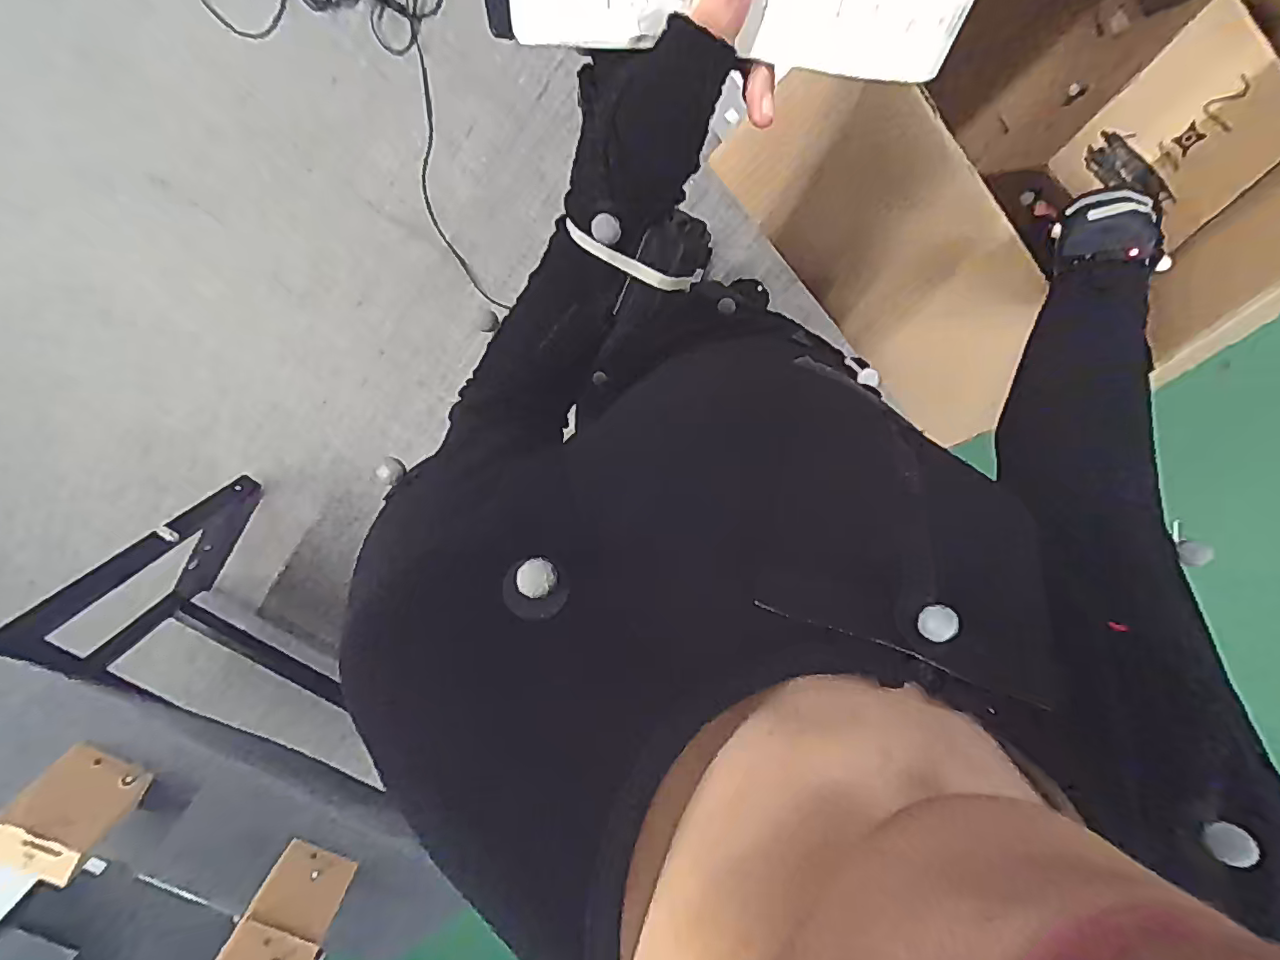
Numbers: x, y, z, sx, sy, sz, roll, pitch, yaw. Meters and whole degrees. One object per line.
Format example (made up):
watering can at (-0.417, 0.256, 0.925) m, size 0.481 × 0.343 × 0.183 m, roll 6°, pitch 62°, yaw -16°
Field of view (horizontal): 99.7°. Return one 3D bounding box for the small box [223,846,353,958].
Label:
small box at (-0.792, 0.981, 1.230) m, size 0.168 × 0.176 × 0.179 m, roll 33°, pitch 115°, yaw -13°

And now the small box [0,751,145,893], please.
small box at (-1.183, 0.698, 1.114) m, size 0.168 × 0.176 × 0.179 m, roll 37°, pitch 115°, yaw -14°

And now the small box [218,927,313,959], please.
small box at (-0.798, 1.048, 1.082) m, size 0.168 × 0.176 × 0.179 m, roll 34°, pitch 114°, yaw -12°
